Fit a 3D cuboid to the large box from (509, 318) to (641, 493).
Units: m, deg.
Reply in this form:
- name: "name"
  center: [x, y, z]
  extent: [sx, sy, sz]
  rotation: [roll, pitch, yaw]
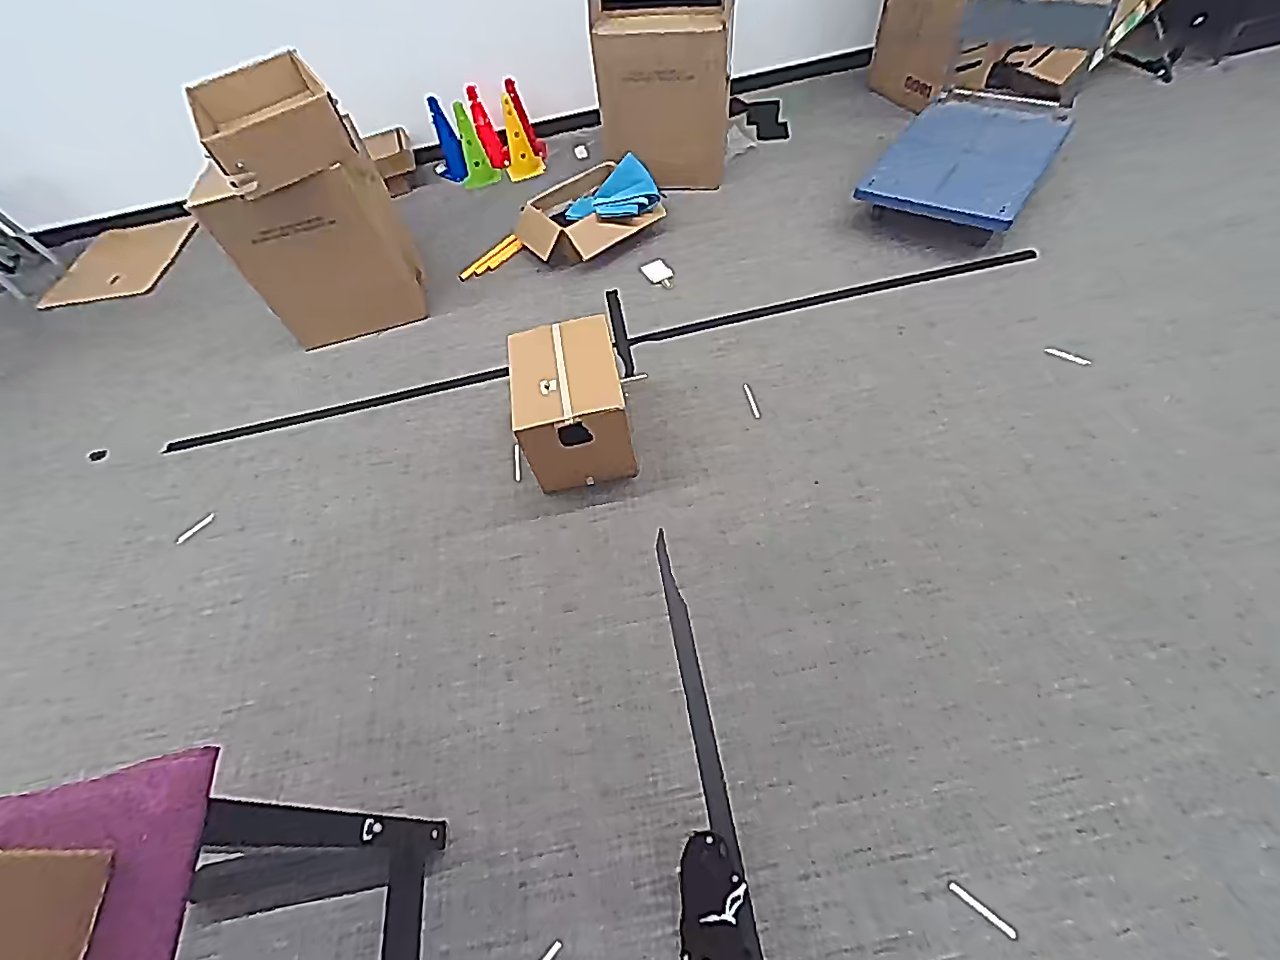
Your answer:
- name: "large box"
  center: [-0.198, -0.230, 1.675]
  extent: [0.320, 0.320, 0.408]
  rotation: [-14, 55, 0]
